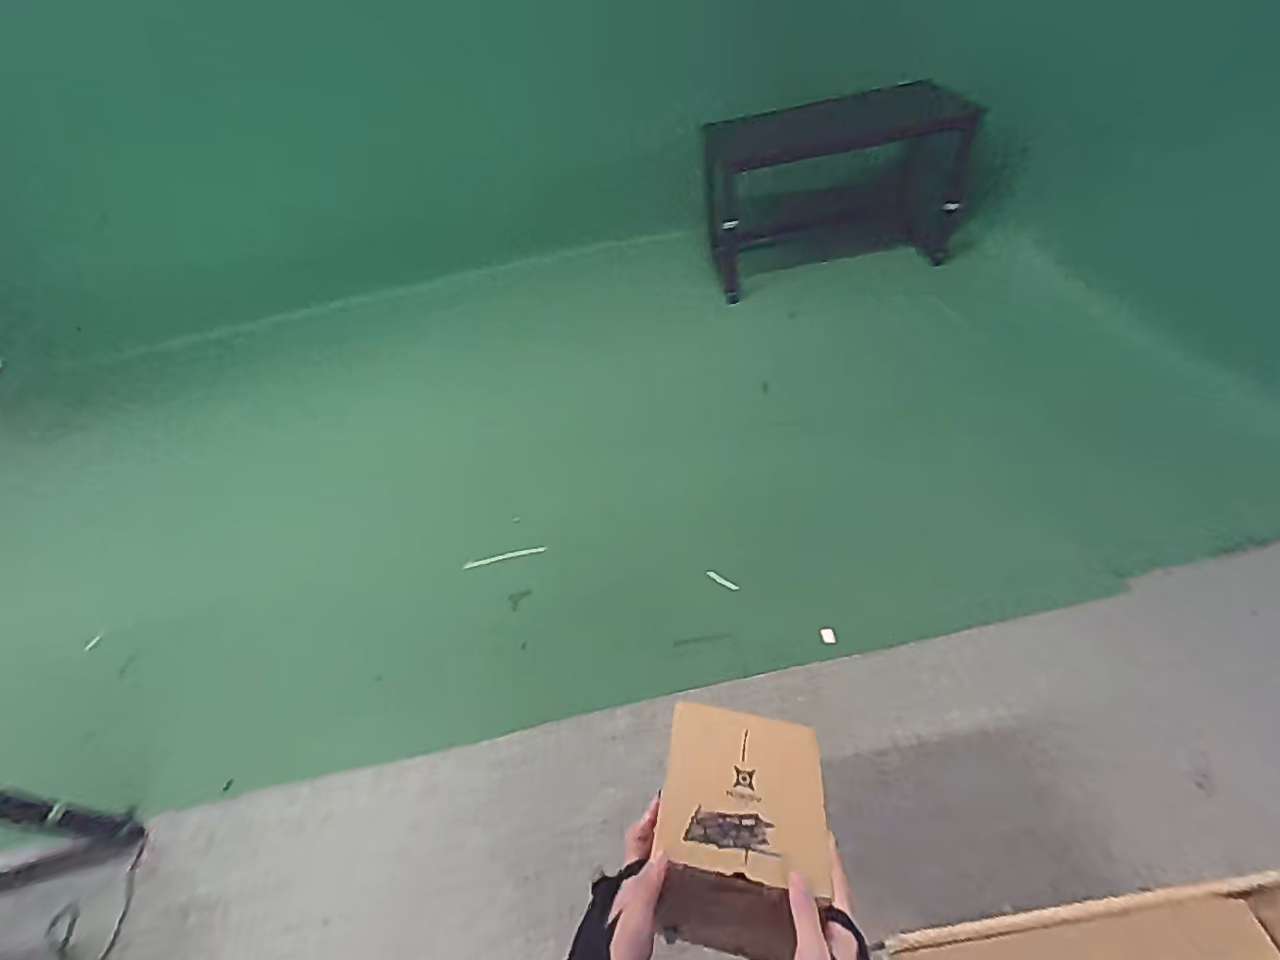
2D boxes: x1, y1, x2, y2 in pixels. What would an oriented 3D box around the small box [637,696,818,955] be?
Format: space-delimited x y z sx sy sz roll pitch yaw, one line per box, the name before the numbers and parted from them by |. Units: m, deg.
small box | 0.091 0.377 0.598 0.168 0.176 0.179 8 33 7
